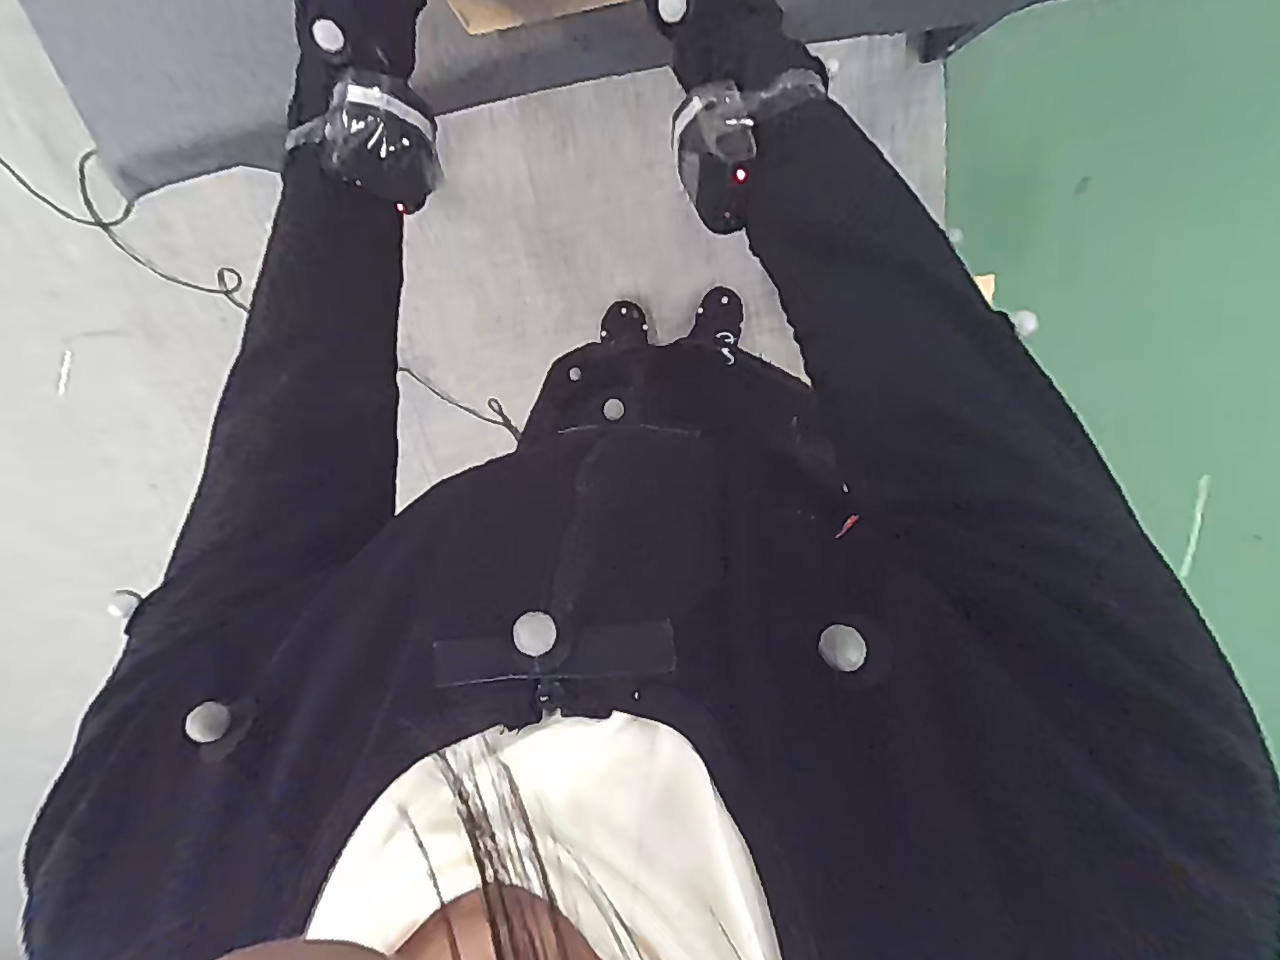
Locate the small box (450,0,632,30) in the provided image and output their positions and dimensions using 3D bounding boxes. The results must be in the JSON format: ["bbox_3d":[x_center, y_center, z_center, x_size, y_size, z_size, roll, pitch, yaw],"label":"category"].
[{"bbox_3d":[-0.089,-0.470,0.387,0.179,0.176,0.168,-6,103,7],"label":"small box"}]
